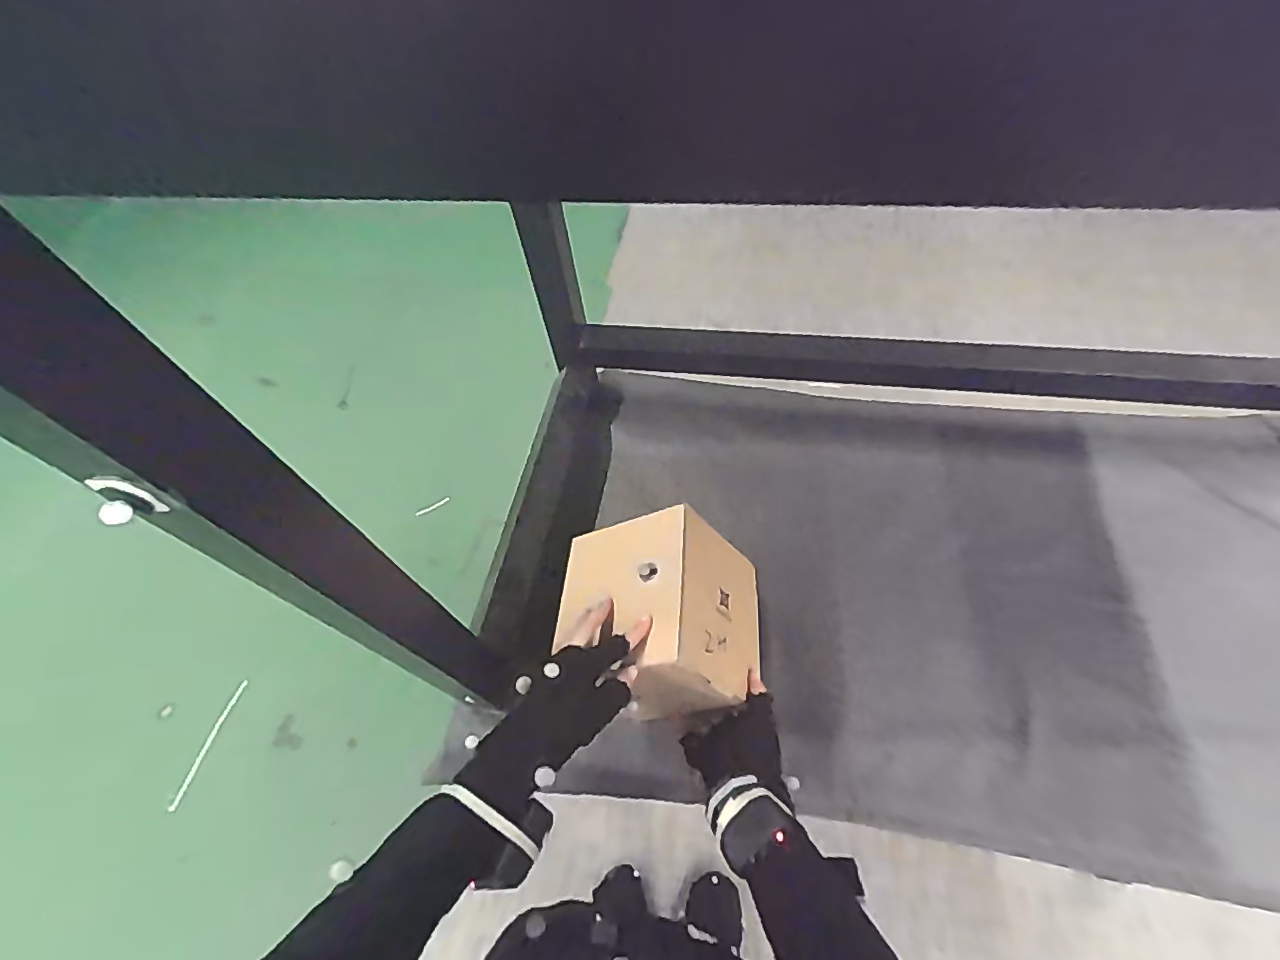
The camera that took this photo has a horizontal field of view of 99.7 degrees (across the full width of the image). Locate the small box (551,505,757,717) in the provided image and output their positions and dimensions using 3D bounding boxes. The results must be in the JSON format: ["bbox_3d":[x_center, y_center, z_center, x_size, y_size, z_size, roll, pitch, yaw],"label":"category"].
[{"bbox_3d":[0.020,0.158,0.621,0.176,0.168,0.179,-19,47,31],"label":"small box"}]
